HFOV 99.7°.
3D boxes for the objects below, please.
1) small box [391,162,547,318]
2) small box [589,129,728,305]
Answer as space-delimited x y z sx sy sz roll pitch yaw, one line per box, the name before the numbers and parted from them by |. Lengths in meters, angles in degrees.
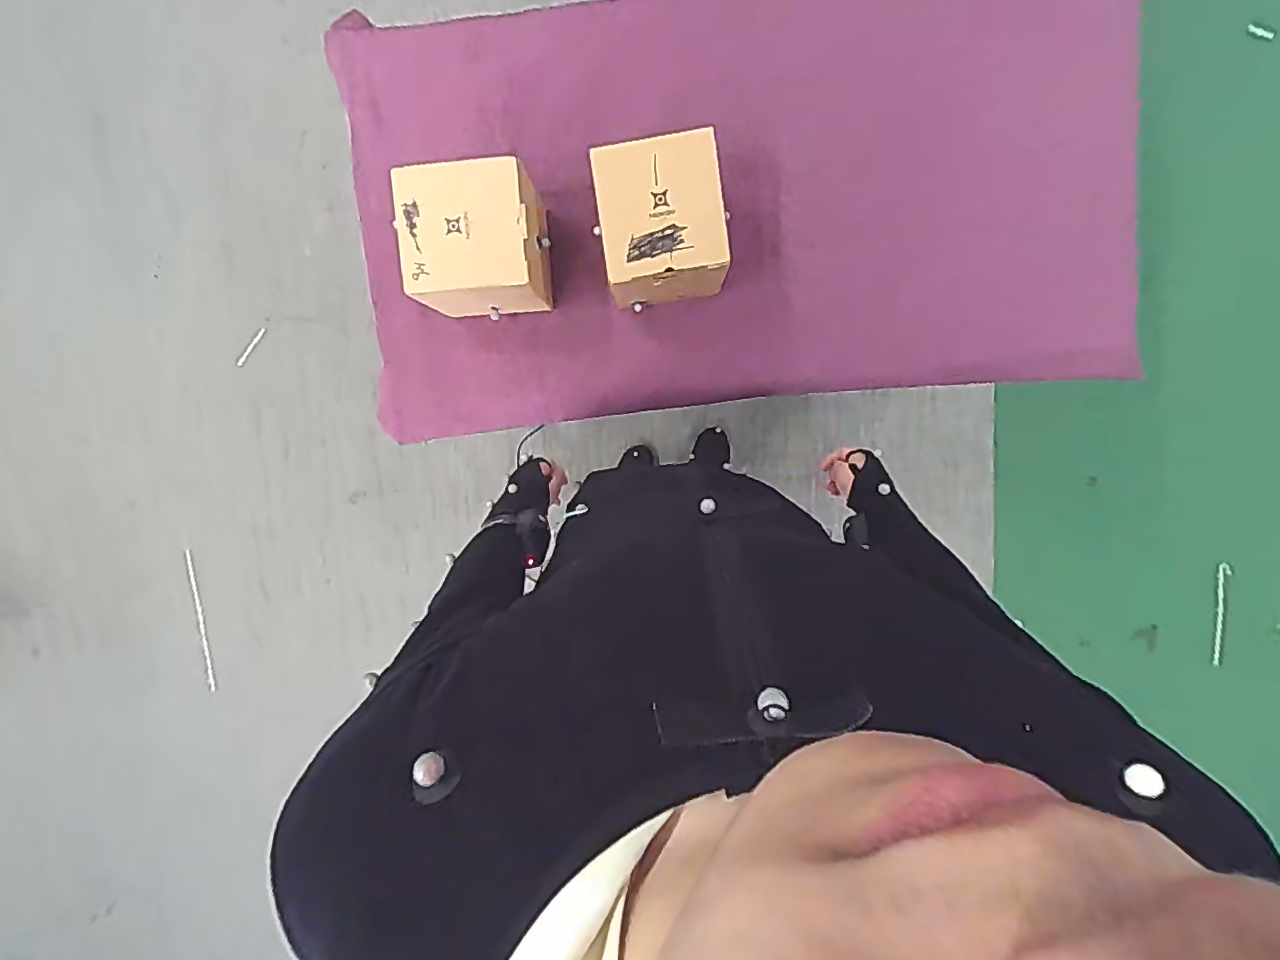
small box | -0.237 -0.340 0.797 0.179 0.176 0.168 -4 96 1
small box | 0.029 -0.362 0.785 0.168 0.176 0.179 -8 95 3
